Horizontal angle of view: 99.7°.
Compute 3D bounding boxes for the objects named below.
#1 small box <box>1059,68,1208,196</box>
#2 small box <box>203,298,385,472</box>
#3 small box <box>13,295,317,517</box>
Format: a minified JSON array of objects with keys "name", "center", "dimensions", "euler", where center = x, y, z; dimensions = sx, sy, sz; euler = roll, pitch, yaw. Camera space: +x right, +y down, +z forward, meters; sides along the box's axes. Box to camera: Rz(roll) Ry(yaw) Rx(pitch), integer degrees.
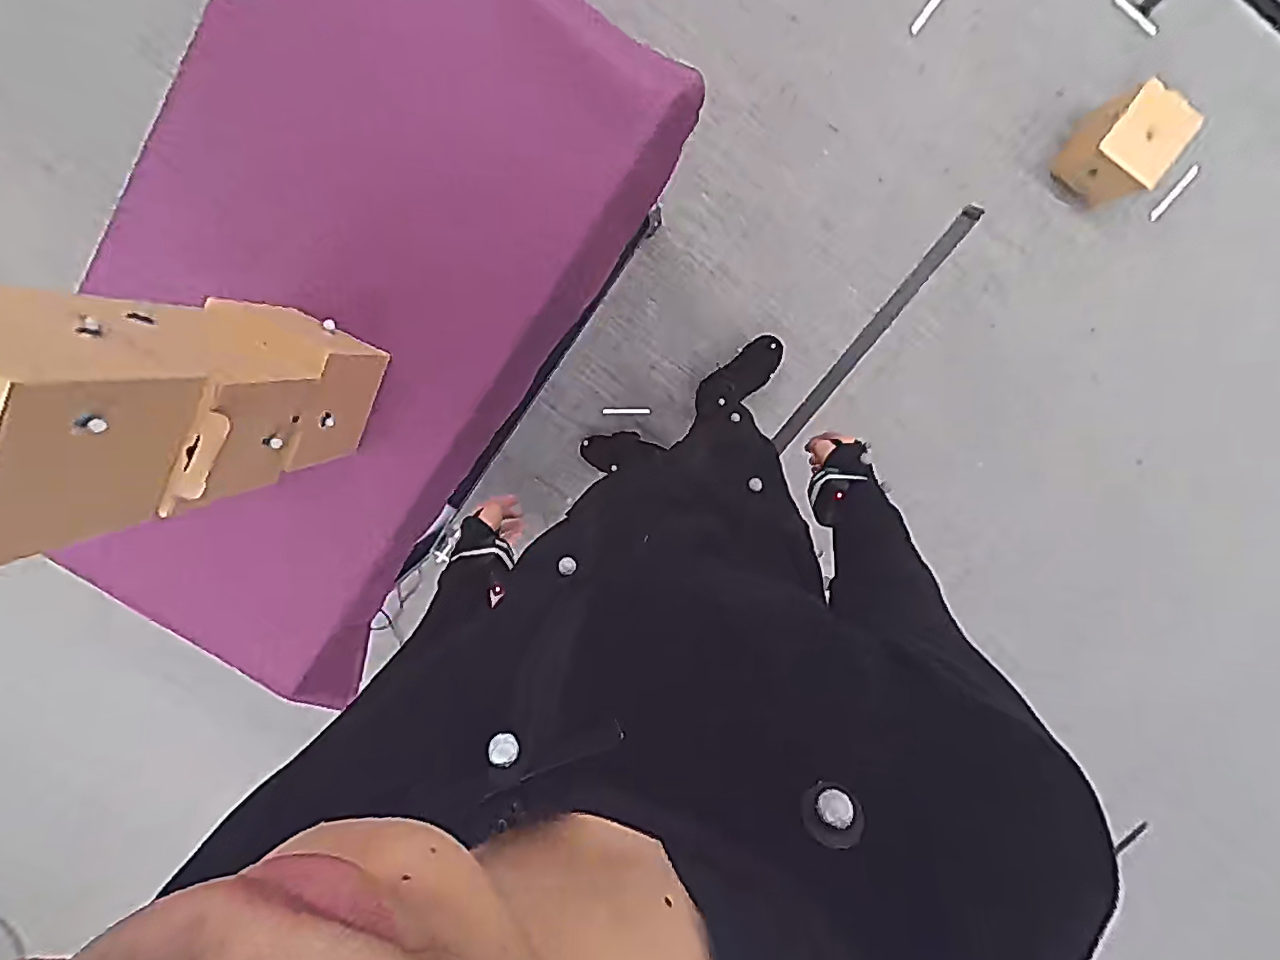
[{"name":"small box","center":[1.175,-0.826,1.310],"dimensions":[0.168,0.176,0.179],"euler":[32,102,-6]},{"name":"small box","center":[-0.501,-0.136,0.778],"dimensions":[0.168,0.176,0.179],"euler":[25,102,-4]},{"name":"small box","center":[-0.524,-0.086,0.621],"dimensions":[0.179,0.176,0.168],"euler":[30,103,-5]}]
